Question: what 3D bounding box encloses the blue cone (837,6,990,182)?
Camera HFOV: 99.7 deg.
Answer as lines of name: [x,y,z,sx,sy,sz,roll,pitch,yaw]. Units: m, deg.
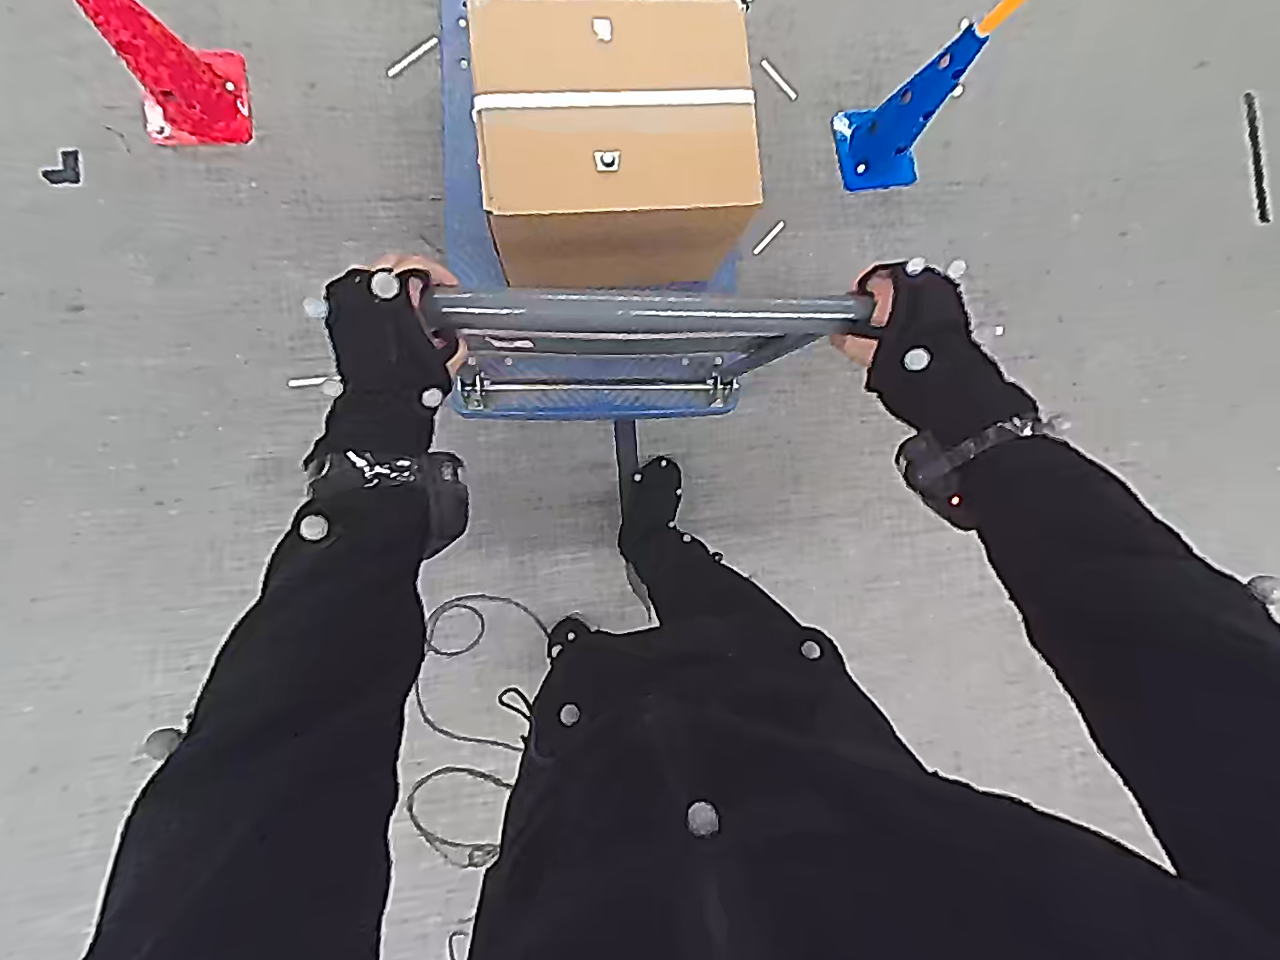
blue cone: [0.614,-0.845,1.186,0.193,0.380,0.192,-9,89,-8]
